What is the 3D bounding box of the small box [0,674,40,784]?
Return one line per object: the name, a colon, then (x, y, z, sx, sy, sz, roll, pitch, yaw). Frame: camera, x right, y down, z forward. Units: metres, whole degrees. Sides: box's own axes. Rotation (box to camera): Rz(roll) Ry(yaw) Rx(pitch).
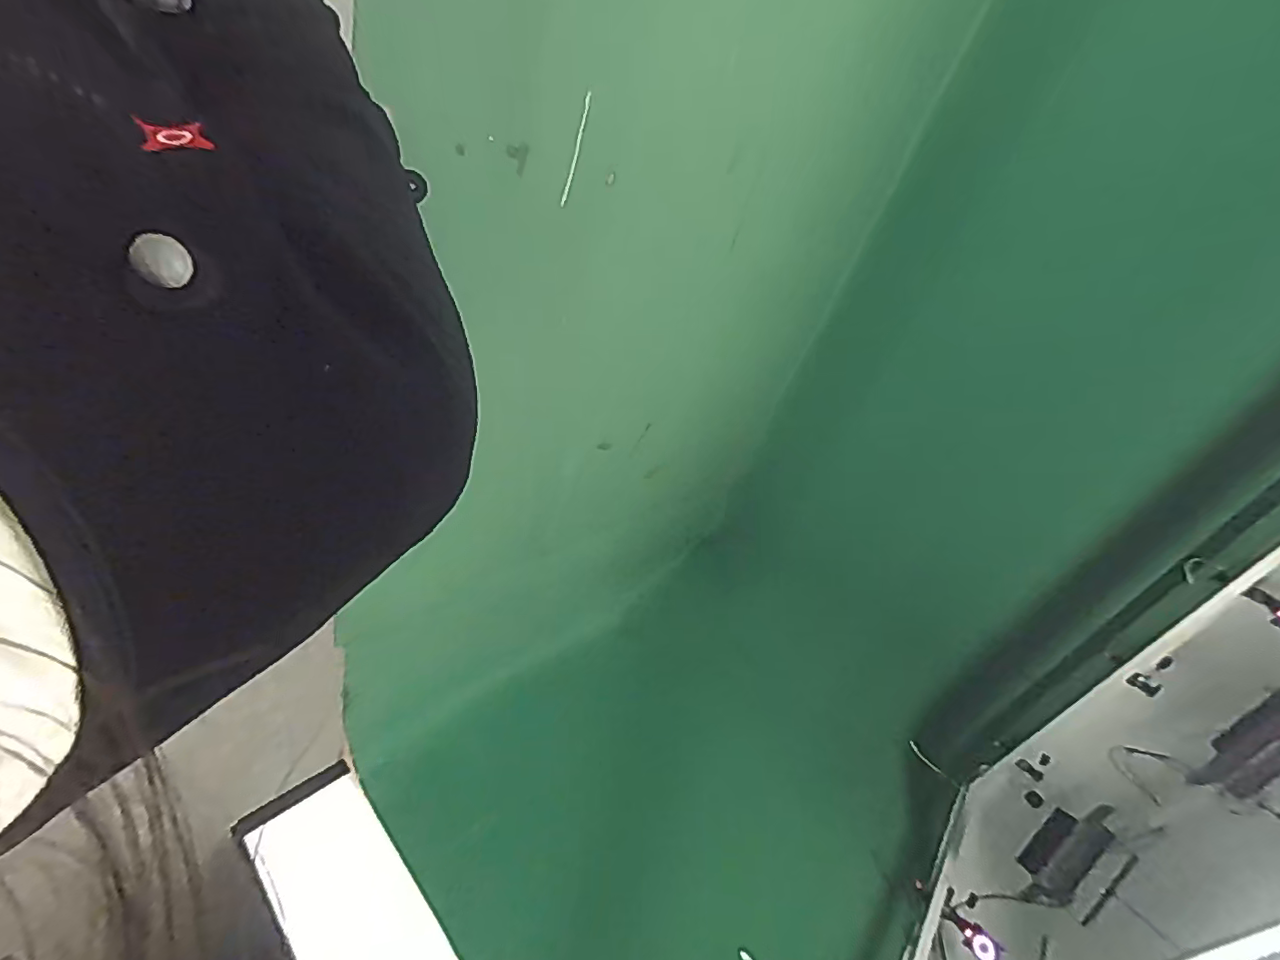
small box: (-1.265, 0.473, 0.986, 0.179, 0.176, 0.168, -23, 141, -42)
